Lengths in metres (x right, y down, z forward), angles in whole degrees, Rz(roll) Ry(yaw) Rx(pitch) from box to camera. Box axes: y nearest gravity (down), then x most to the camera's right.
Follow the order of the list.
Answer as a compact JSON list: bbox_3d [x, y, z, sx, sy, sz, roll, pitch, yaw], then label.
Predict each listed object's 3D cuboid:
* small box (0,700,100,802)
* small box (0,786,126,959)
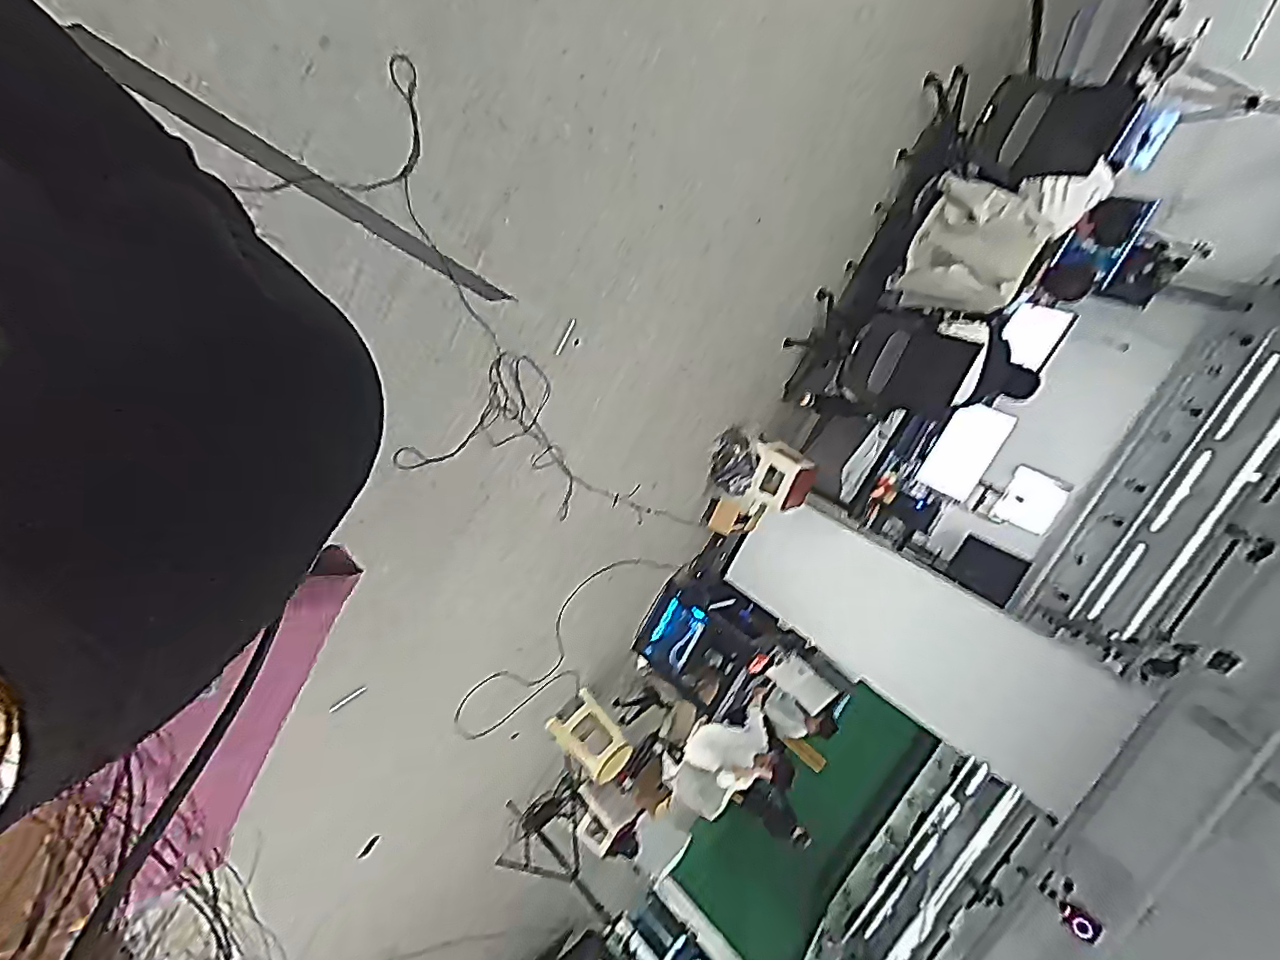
[{"bbox_3d":[-0.766,0.376,0.614,0.168,0.176,0.179,14,107,-57],"label":"small box"},{"bbox_3d":[-0.642,0.435,0.522,0.168,0.176,0.179,7,113,-55],"label":"small box"}]
